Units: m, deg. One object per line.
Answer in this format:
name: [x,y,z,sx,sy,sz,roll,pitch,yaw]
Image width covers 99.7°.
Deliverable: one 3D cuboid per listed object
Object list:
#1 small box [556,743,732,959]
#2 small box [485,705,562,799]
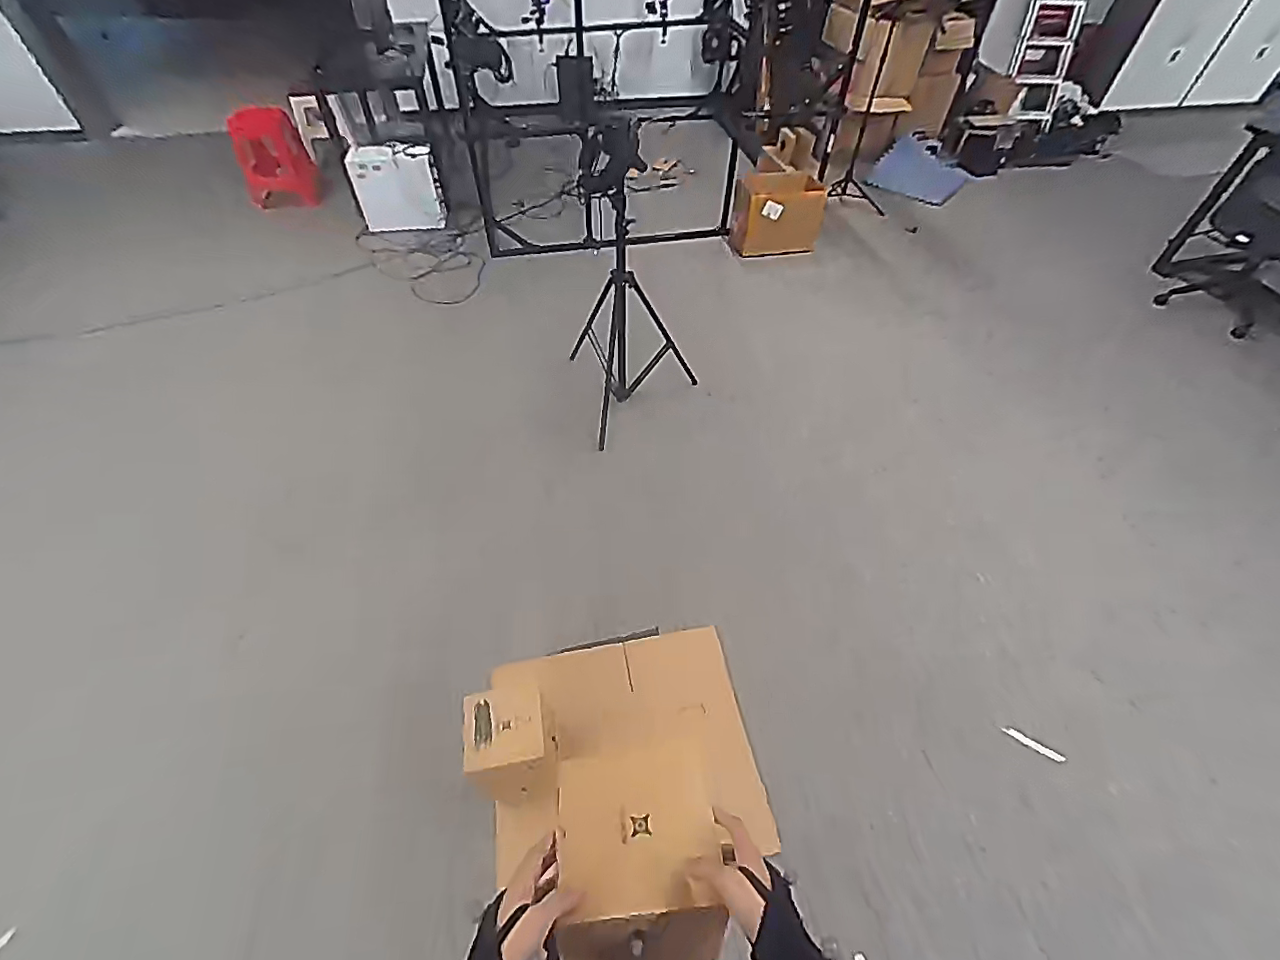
small box: [-0.003,0.441,0.635,0.179,0.176,0.168,-4,32,-6]
small box: [-0.294,0.704,1.397,0.179,0.176,0.168,-9,51,-7]
